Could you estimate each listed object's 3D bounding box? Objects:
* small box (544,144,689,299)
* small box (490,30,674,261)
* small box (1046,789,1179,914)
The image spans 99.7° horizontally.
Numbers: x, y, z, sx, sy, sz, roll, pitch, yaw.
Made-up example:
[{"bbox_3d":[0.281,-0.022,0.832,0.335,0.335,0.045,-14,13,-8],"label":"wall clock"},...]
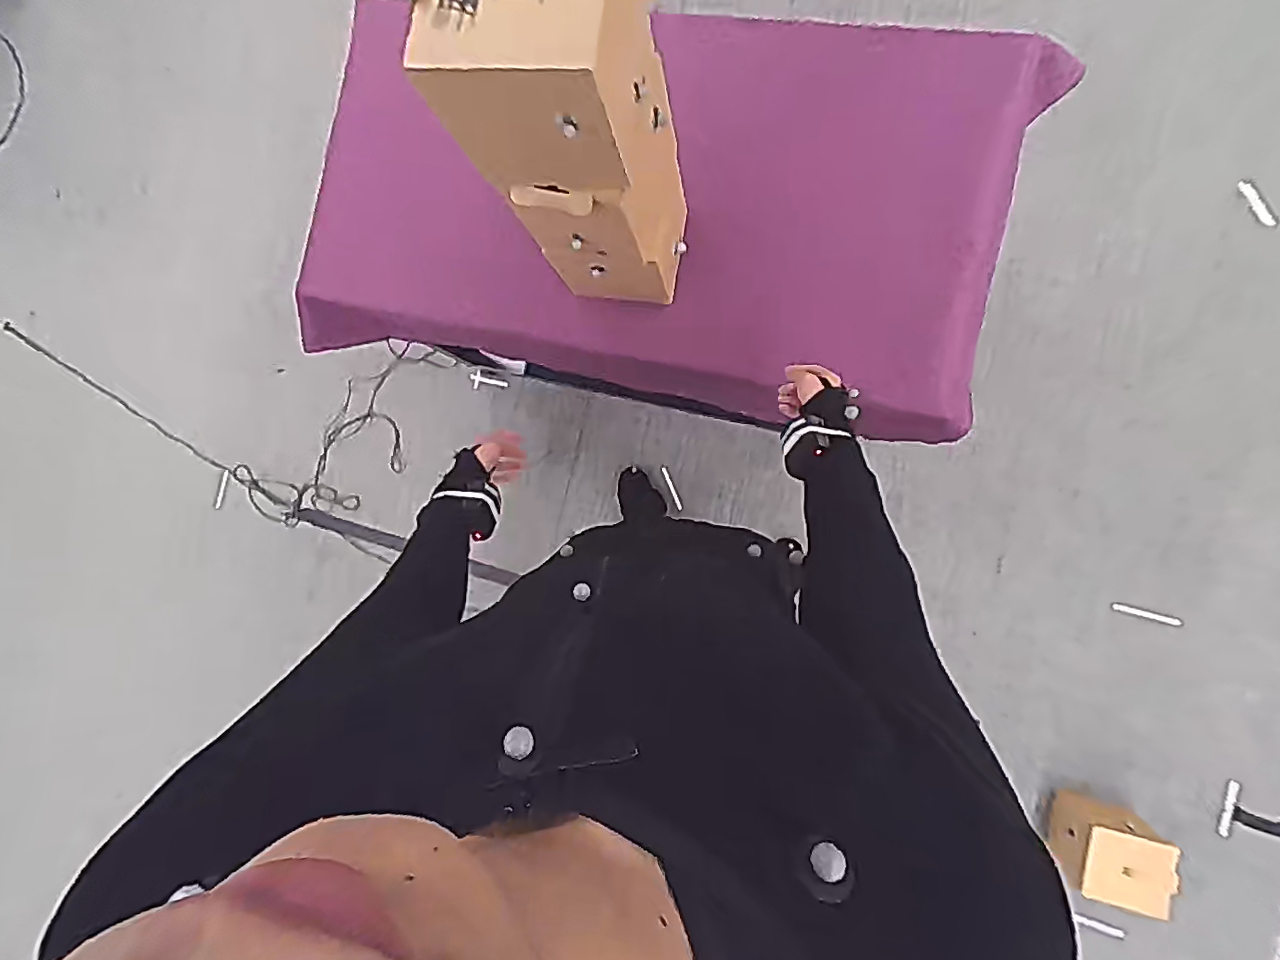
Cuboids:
[{"bbox_3d":[-0.029,-0.398,0.847,0.179,0.176,0.168,10,90,11],"label":"small box"},{"bbox_3d":[-0.059,-0.409,0.686,0.168,0.176,0.179,16,91,12],"label":"small box"},{"bbox_3d":[1.133,0.887,1.313,0.179,0.176,0.168,10,90,11],"label":"small box"}]
